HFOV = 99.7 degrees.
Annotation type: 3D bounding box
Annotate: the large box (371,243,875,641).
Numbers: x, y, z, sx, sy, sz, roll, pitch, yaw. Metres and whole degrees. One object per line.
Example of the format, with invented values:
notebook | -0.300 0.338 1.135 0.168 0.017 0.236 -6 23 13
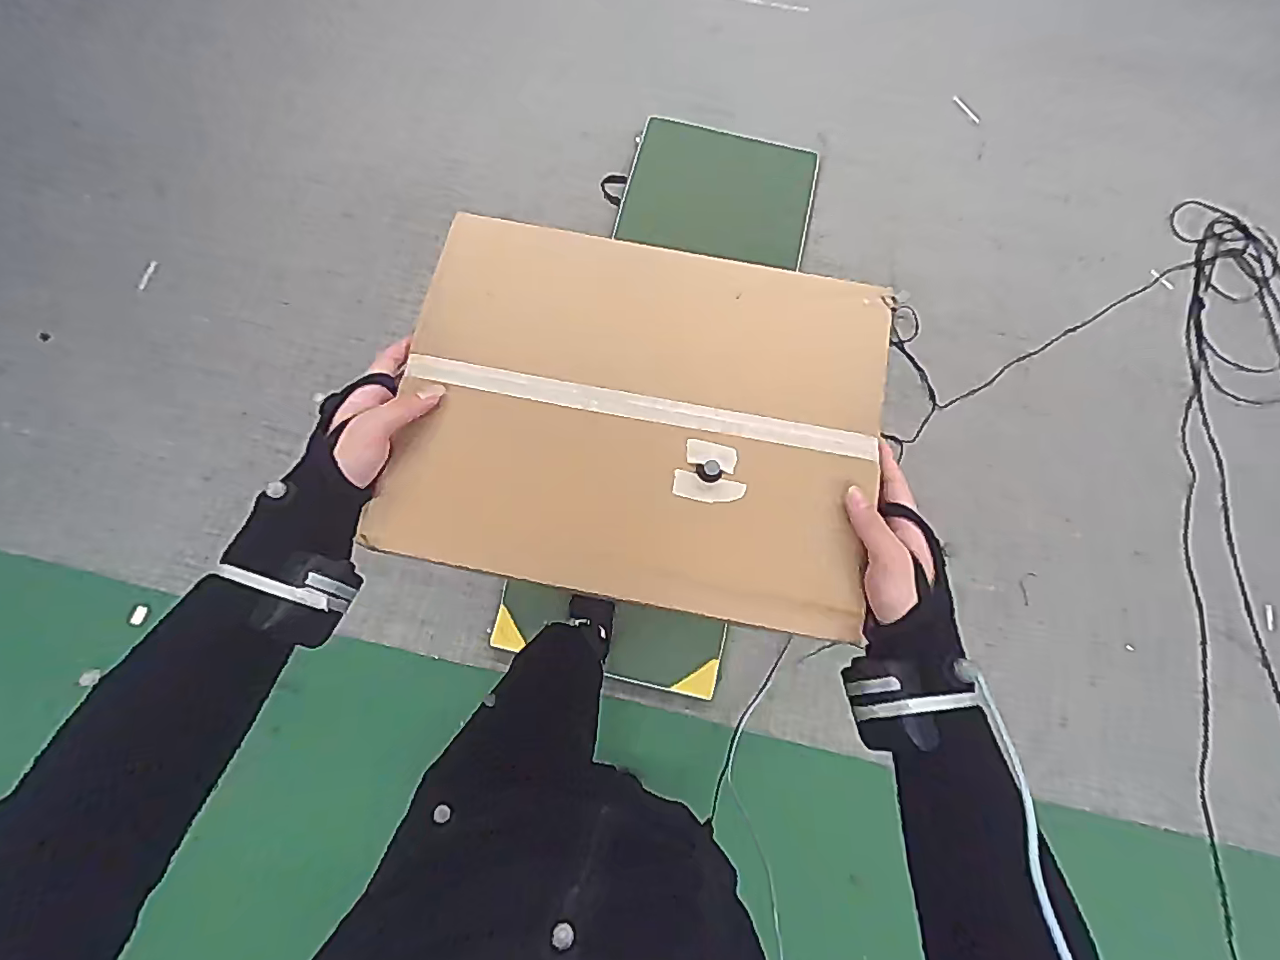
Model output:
large box | -0.006 -0.013 0.615 0.408 0.320 0.320 11 77 1
